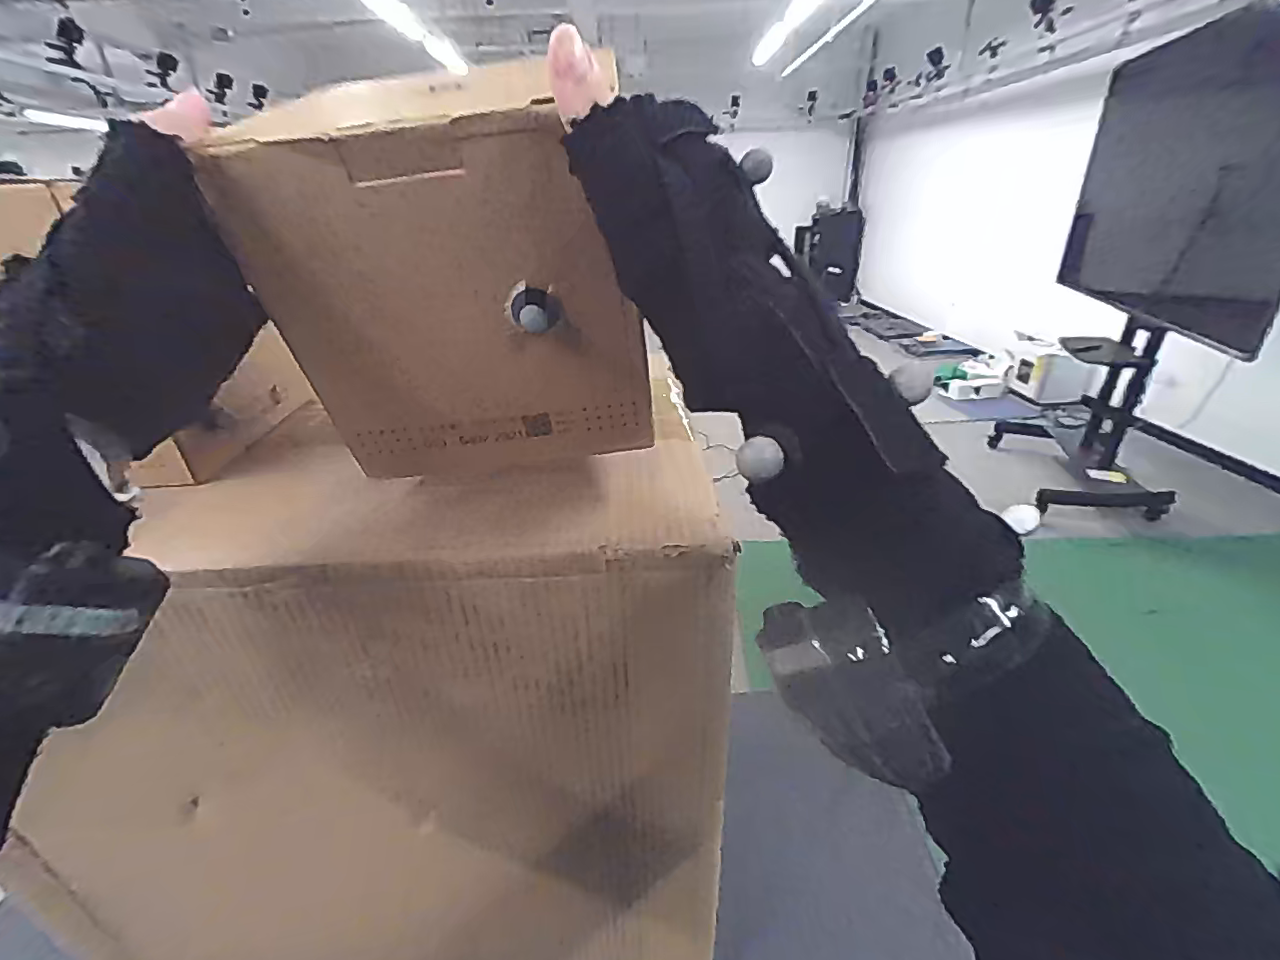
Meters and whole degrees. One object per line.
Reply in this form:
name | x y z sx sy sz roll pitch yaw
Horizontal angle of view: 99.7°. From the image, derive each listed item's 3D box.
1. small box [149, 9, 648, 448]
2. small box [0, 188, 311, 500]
small box | -0.093 -0.133 0.303 0.168 0.176 0.179 -10 45 0
small box | -0.367 -0.098 0.370 0.179 0.176 0.168 -5 30 -2
